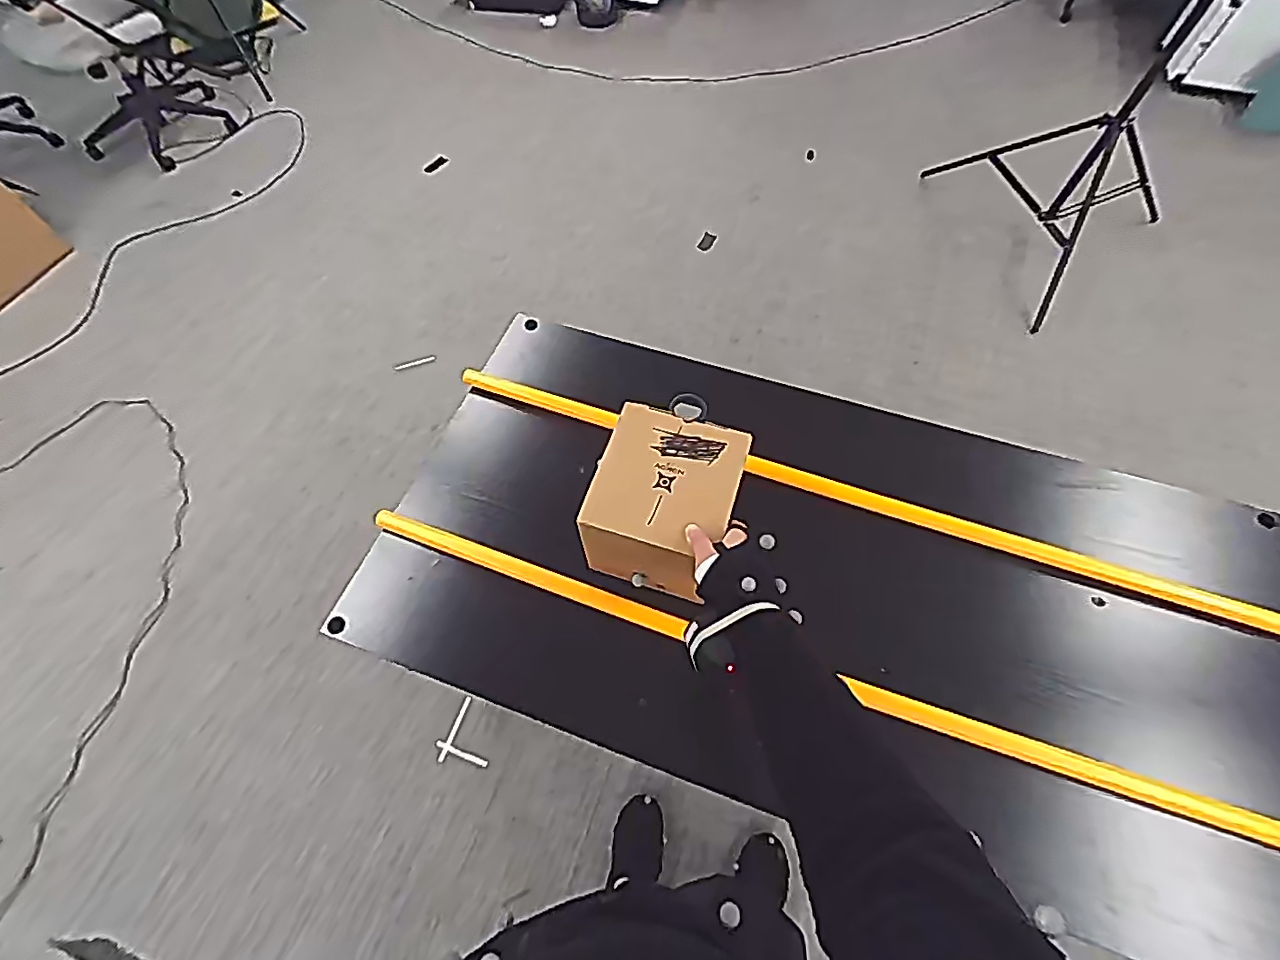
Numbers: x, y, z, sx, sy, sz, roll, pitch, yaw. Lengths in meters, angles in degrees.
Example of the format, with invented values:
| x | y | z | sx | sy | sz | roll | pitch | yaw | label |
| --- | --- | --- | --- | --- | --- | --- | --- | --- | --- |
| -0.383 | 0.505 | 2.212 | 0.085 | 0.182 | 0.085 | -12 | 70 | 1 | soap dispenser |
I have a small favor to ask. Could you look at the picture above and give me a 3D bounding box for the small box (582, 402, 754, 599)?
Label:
| x | y | z | sx | sy | sz | roll | pitch | yaw | label |
| --- | --- | --- | --- | --- | --- | --- | --- | --- | --- |
| 0.037 | 0.032 | 0.707 | 0.168 | 0.176 | 0.179 | 16 | 64 | 10 | small box |
